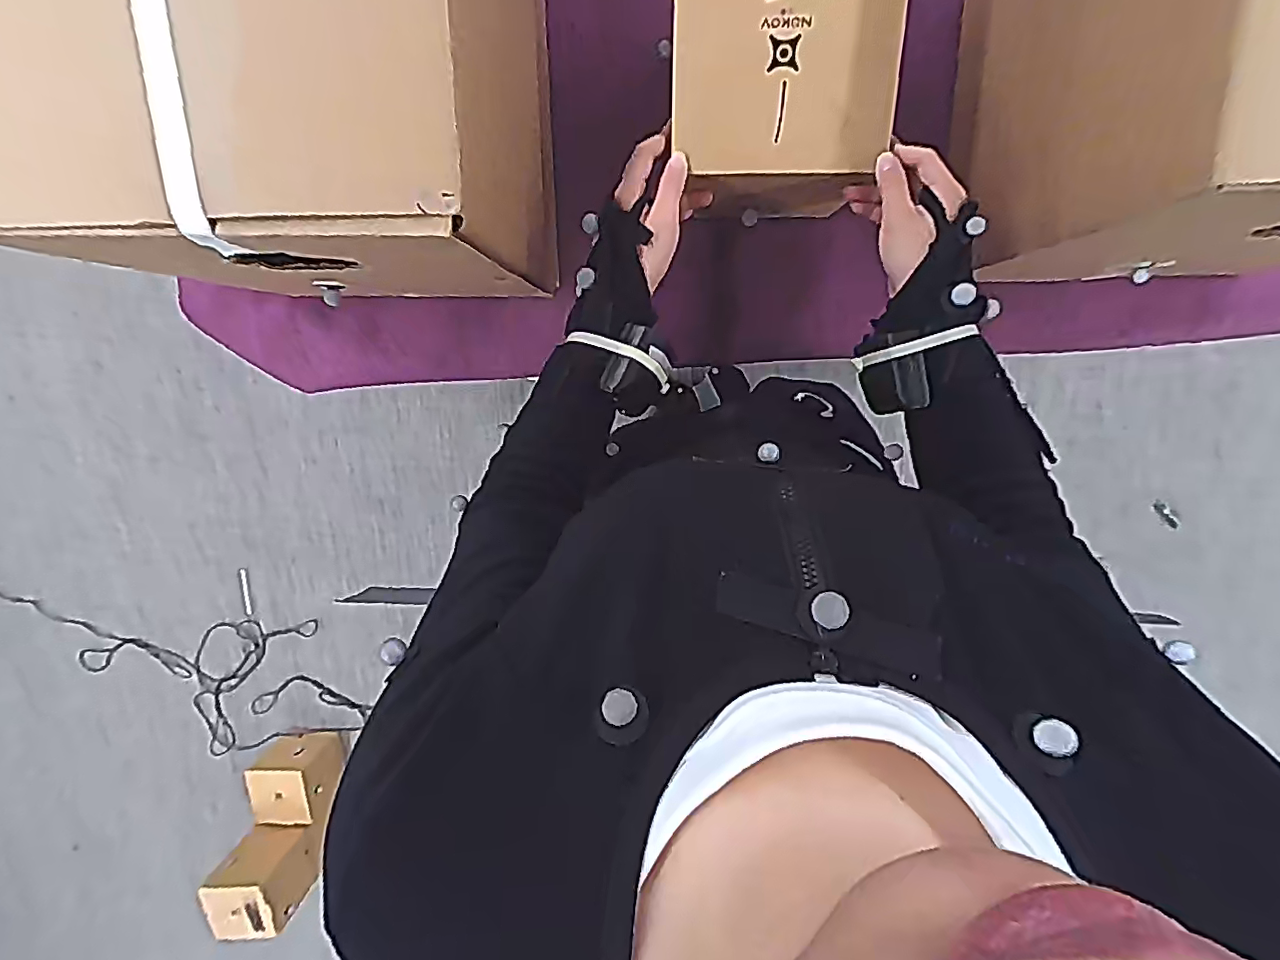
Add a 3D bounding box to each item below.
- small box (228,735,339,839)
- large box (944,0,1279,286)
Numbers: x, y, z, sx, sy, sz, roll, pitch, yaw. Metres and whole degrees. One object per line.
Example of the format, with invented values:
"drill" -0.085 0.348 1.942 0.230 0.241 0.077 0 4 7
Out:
"small box" -0.978 0.848 1.493 0.179 0.176 0.168 24 89 -11
"large box" 0.449 -0.374 0.378 0.320 0.320 0.408 0 101 4
